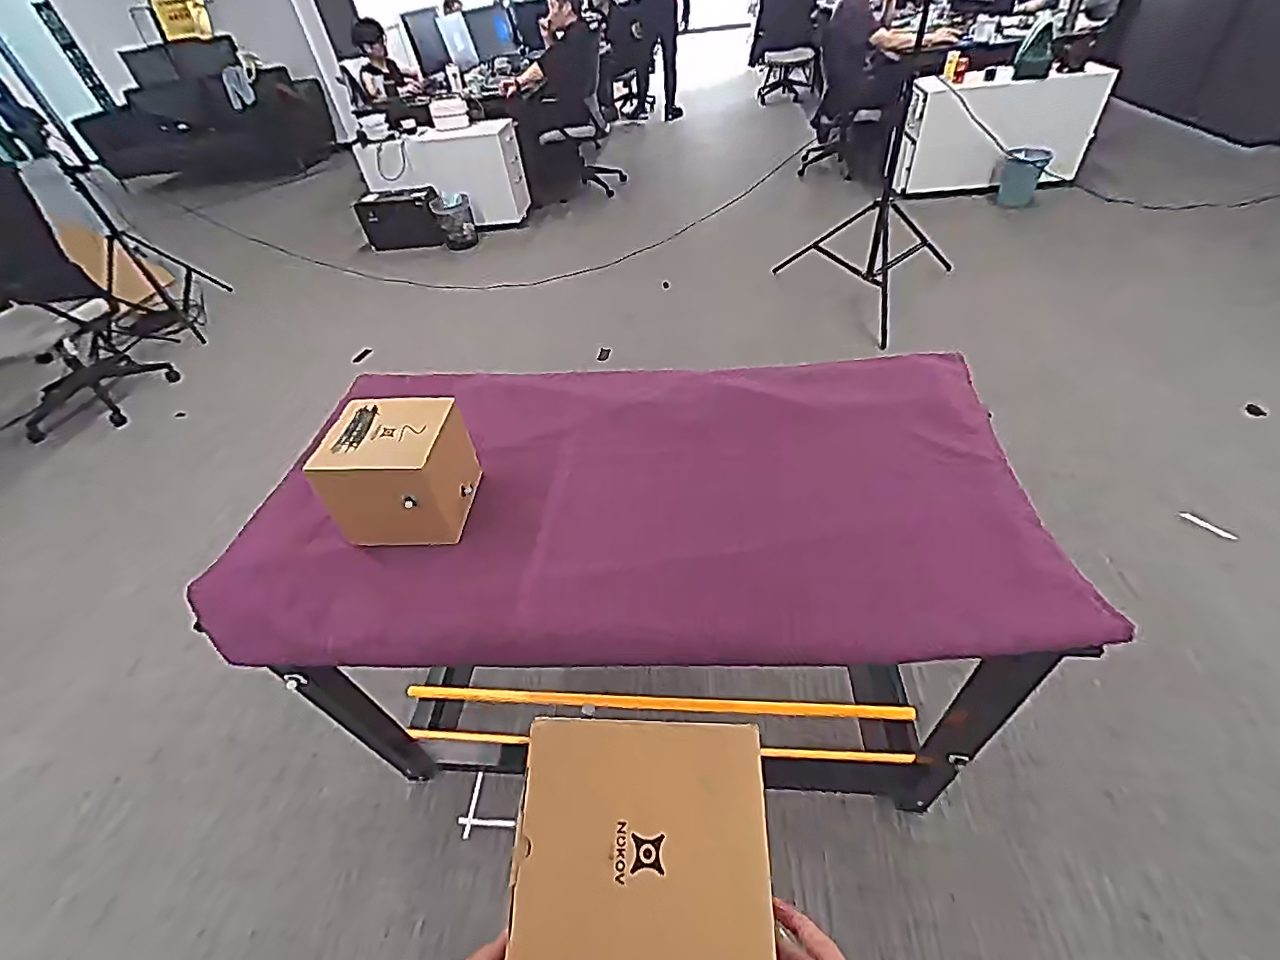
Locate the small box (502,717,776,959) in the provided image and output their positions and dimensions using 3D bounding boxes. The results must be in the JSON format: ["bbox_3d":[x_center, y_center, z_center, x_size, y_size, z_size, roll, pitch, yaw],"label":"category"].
[{"bbox_3d":[0.004,0.292,0.439,0.179,0.176,0.168,-1,59,4],"label":"small box"}]
